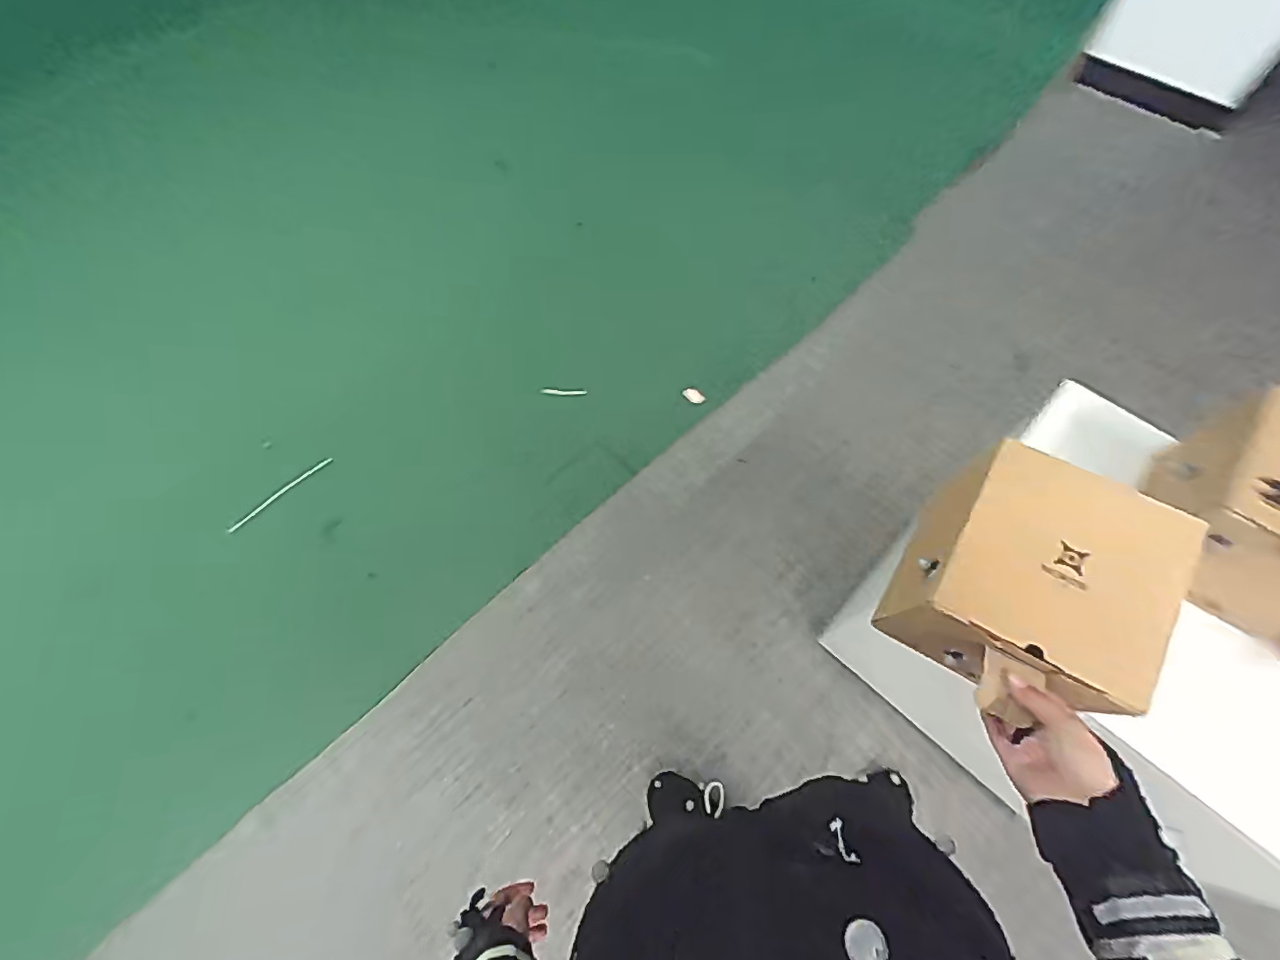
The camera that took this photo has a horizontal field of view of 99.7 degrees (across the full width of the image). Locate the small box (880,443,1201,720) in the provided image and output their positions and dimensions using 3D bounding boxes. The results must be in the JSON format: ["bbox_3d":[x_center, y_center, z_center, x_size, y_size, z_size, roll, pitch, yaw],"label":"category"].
[{"bbox_3d":[0.358,0.099,0.519,0.168,0.176,0.179,27,77,15],"label":"small box"}]
